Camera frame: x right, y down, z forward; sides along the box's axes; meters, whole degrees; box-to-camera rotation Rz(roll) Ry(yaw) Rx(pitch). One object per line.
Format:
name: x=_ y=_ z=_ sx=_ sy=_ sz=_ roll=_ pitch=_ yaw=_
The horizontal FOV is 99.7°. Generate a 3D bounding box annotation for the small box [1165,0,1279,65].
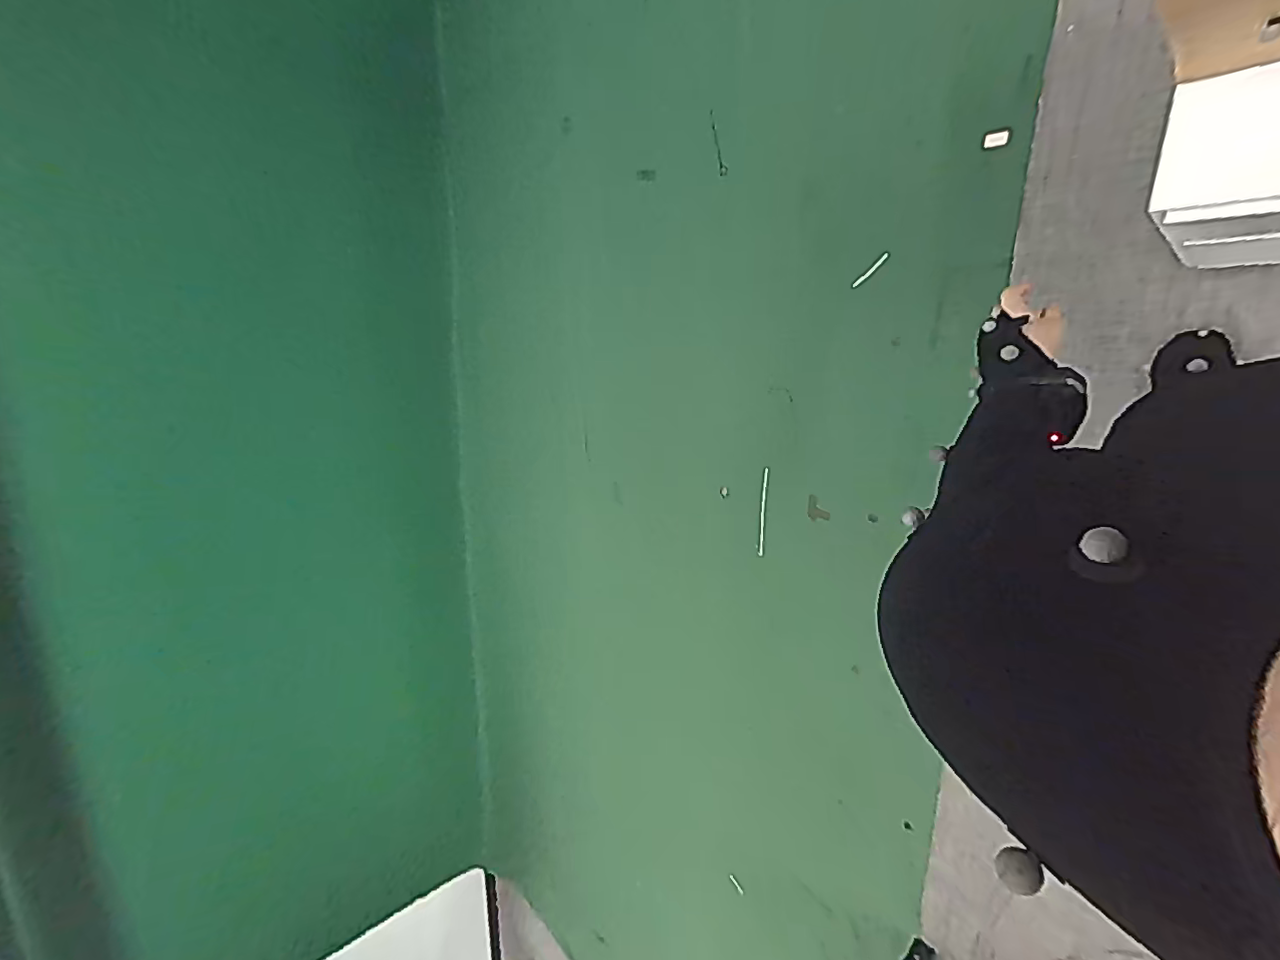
small box: x=0.625 y=-0.522 z=0.492 sx=0.179 sy=0.176 sz=0.168 roll=15 pitch=110 yaw=46
